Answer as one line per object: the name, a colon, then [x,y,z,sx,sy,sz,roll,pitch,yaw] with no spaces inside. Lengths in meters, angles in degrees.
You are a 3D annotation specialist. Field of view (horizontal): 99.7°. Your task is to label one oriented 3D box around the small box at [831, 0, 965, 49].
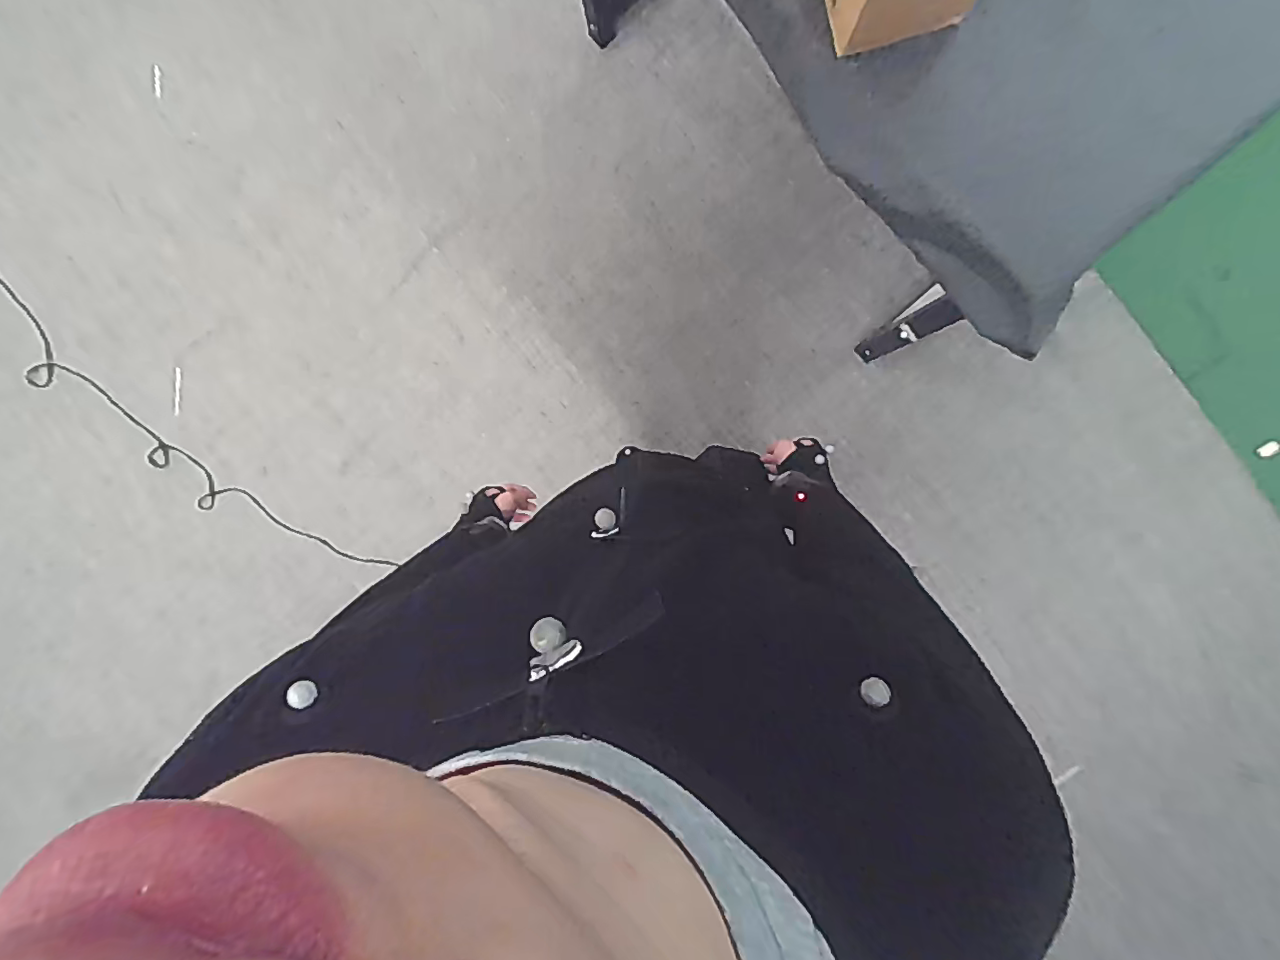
small box: [0.340,-0.691,0.674,0.179,0.176,0.168,-14,94,3]
